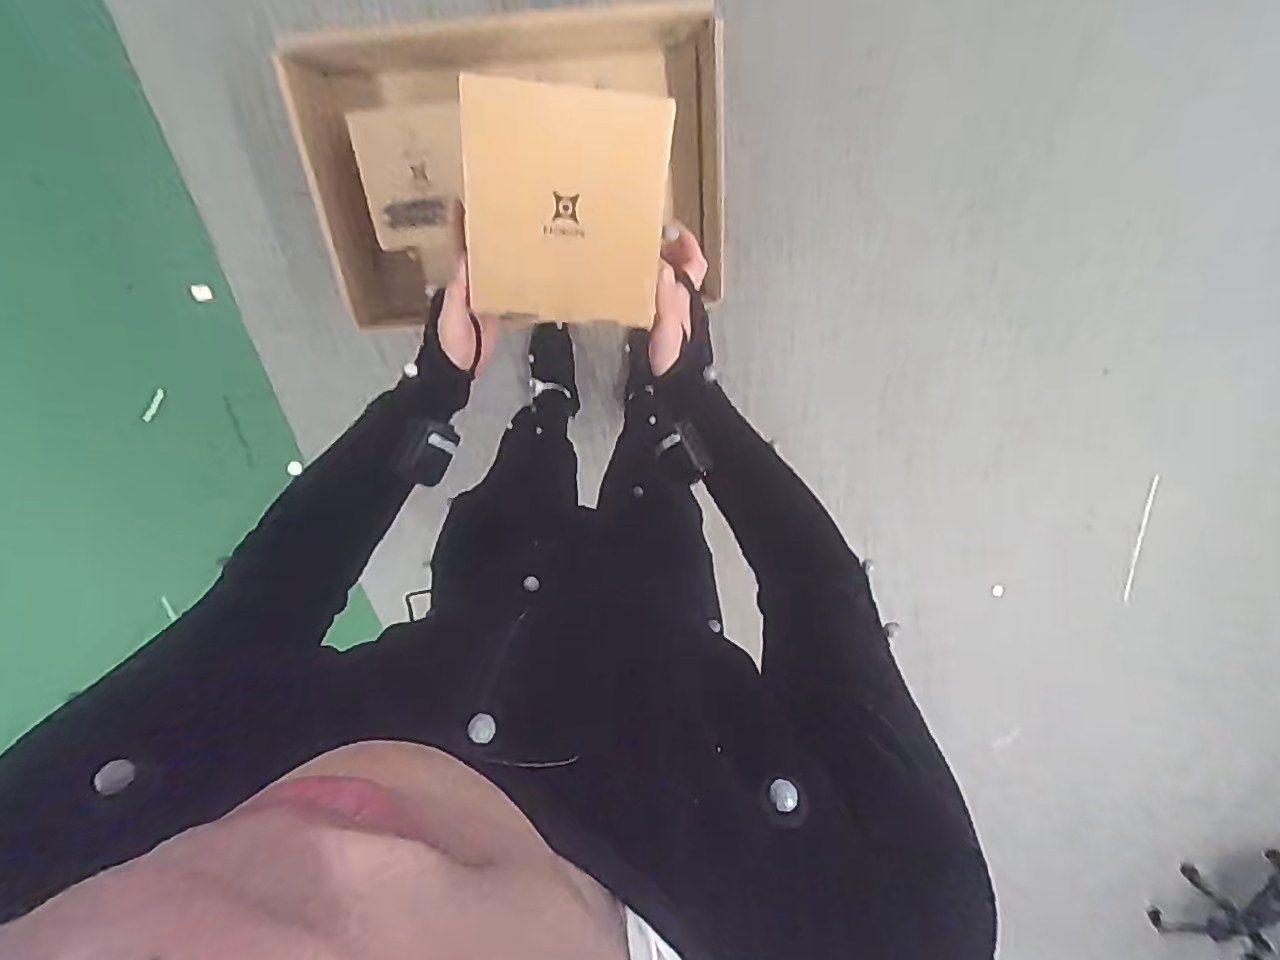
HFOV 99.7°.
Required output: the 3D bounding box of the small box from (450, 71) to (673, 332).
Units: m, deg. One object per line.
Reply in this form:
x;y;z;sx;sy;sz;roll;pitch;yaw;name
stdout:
-0.066;-0.252;0.502;0.168;0.176;0.179;4;120;-3;small box
